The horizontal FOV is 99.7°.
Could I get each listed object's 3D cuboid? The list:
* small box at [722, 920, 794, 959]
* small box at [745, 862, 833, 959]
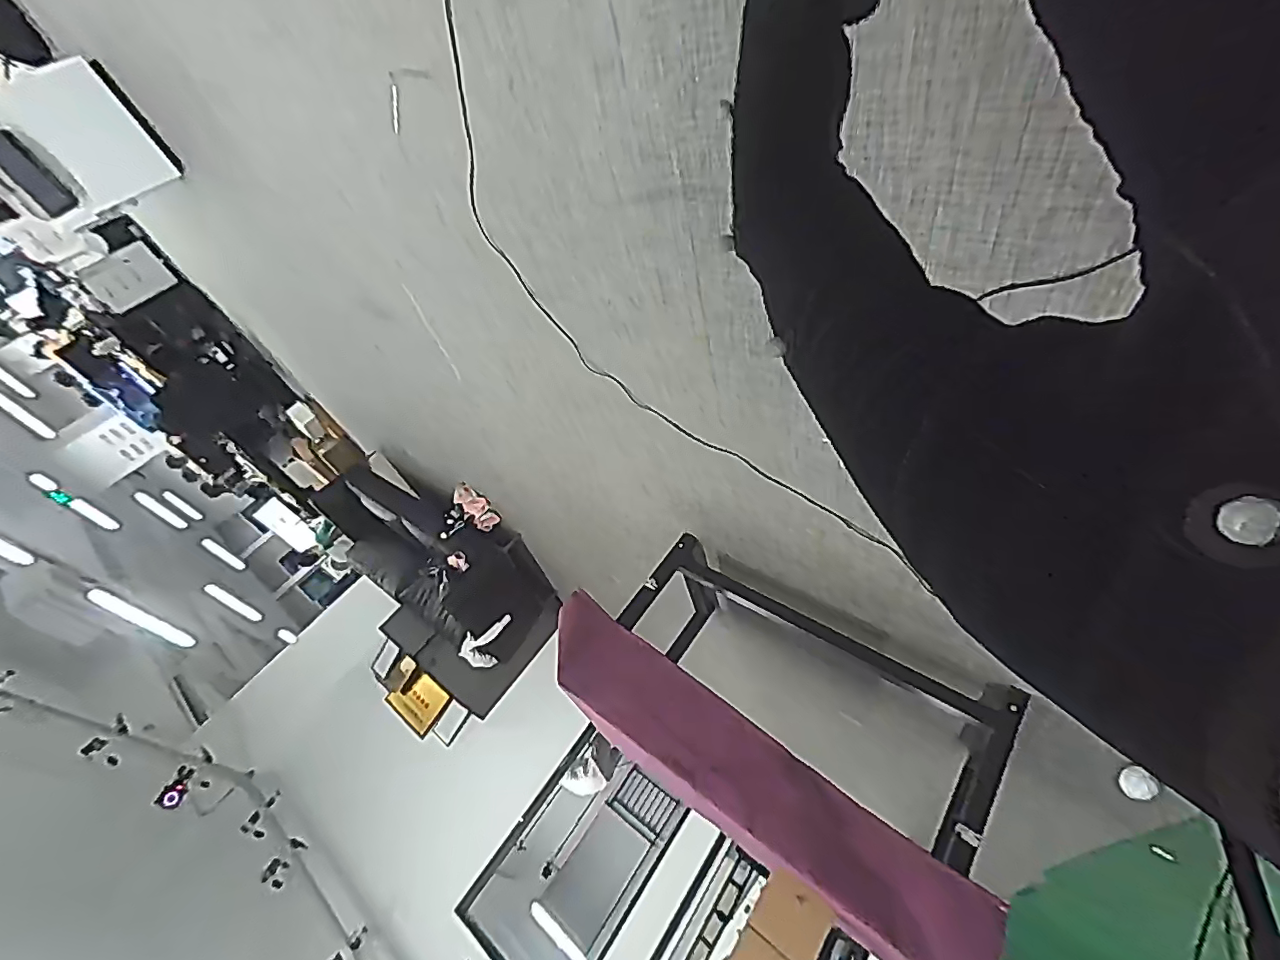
[{"bbox_3d":[0.320,1.319,1.445,0.179,0.176,0.168,22,148,35],"label":"small box"},{"bbox_3d":[0.420,1.208,1.514,0.179,0.176,0.168,23,149,36],"label":"small box"}]
